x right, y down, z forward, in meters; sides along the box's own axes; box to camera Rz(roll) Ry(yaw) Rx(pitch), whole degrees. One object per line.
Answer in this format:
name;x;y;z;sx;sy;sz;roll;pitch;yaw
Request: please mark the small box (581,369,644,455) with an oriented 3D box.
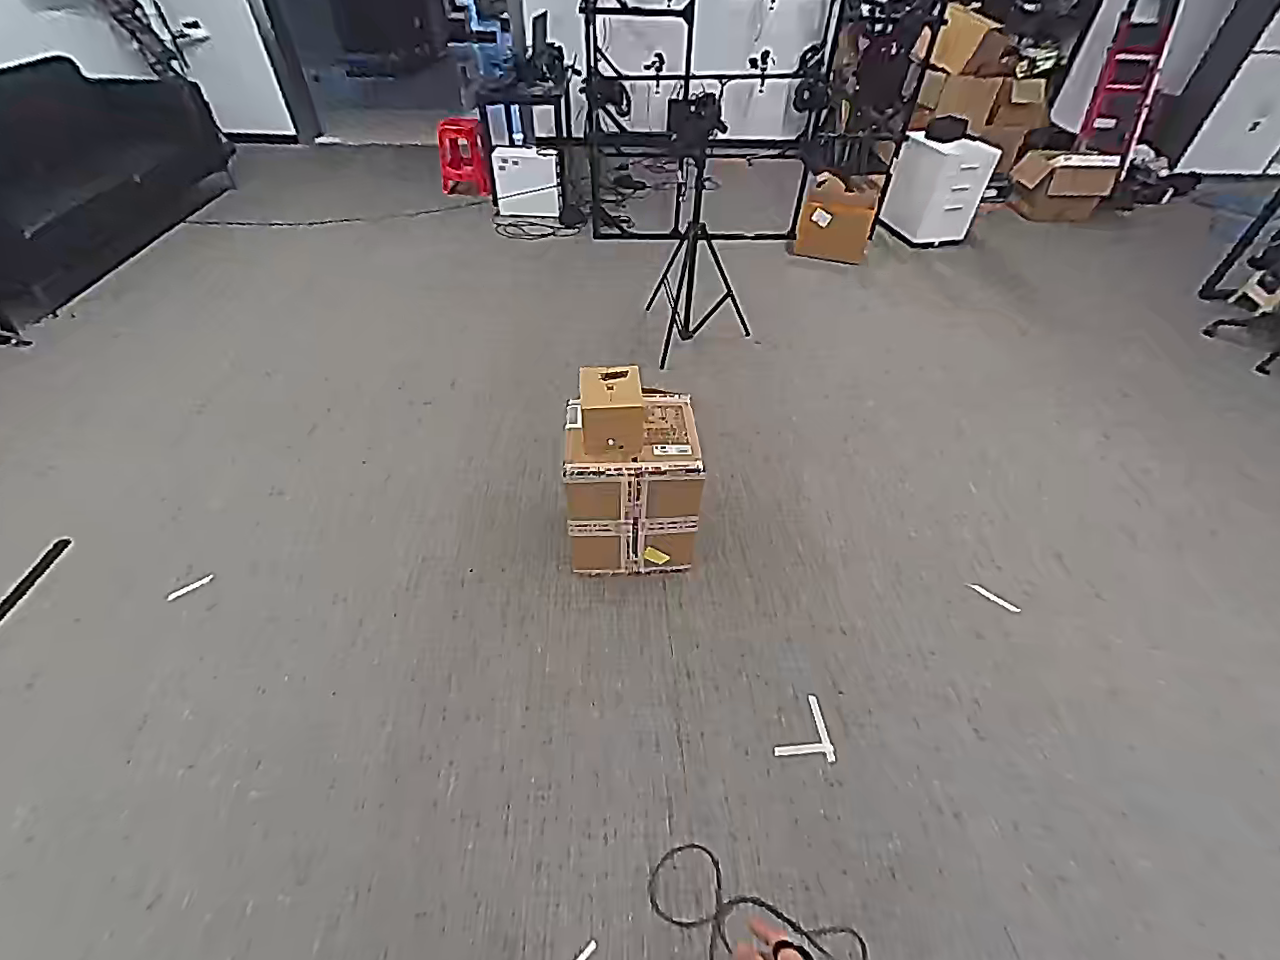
small box;-0.079;-0.189;1.509;0.168;0.176;0.179;-4;49;-4
